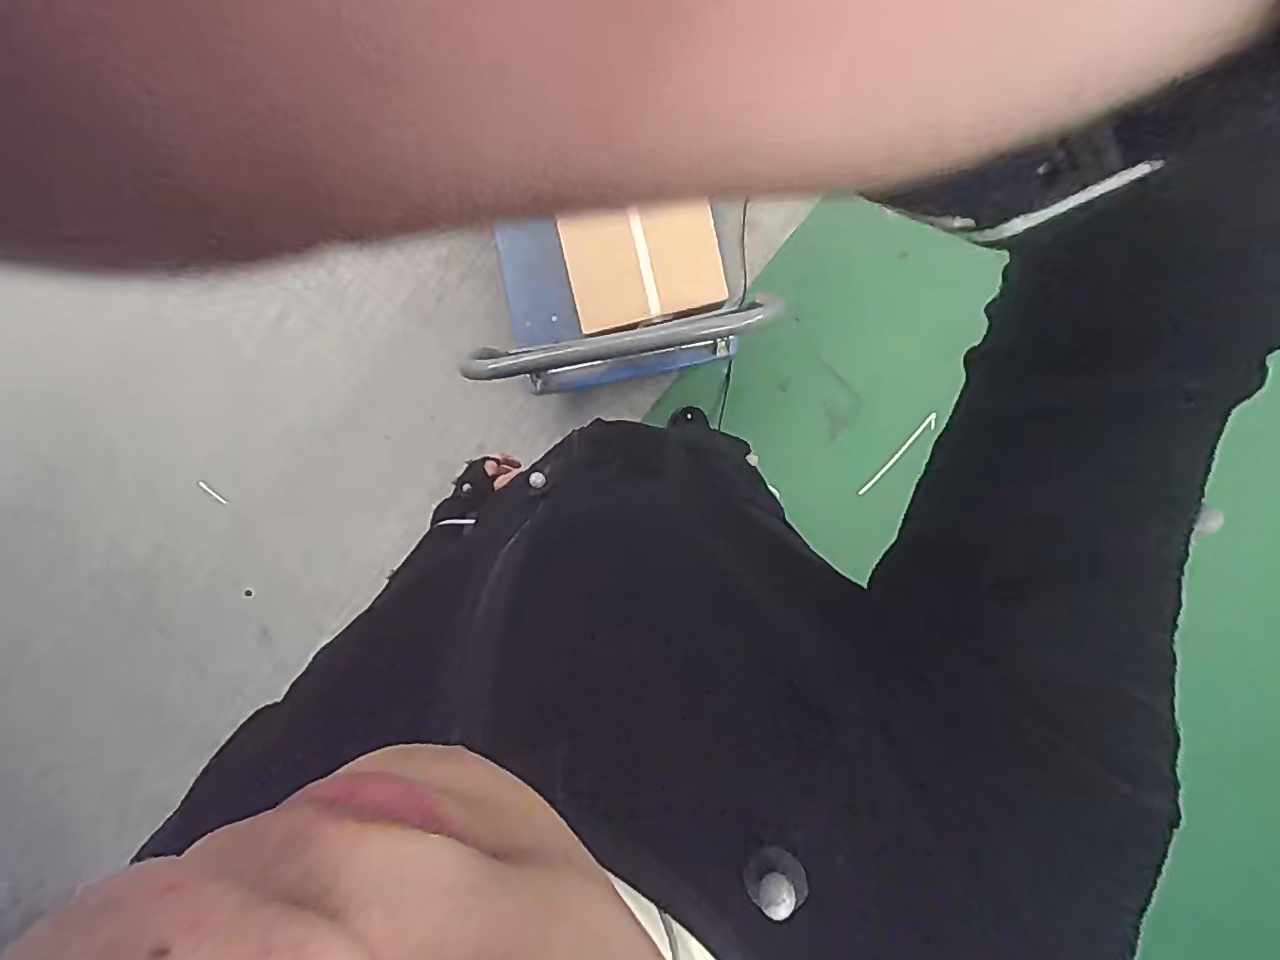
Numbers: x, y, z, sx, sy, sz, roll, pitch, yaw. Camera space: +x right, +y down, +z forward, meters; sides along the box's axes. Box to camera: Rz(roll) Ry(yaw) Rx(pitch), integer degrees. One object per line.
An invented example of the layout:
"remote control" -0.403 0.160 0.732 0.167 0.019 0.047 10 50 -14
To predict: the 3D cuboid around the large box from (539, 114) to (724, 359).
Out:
"large box" -0.011 -0.536 1.276 0.320 0.320 0.408 -13 95 2
